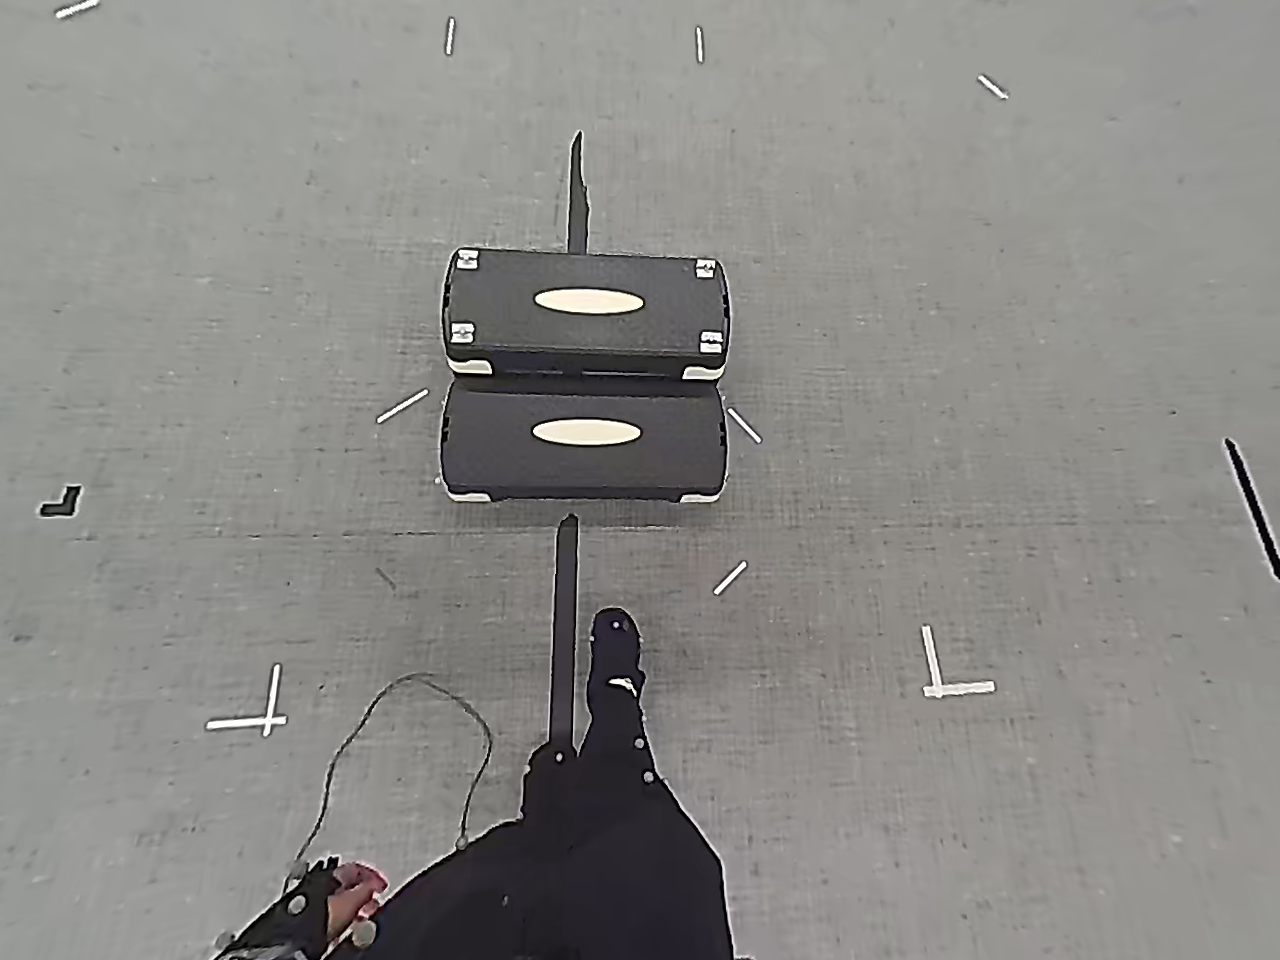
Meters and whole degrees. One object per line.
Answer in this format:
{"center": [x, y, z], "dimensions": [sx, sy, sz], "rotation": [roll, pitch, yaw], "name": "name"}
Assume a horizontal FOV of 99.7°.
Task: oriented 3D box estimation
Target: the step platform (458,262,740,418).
{"center": [-0.096, -0.346, 1.357], "dimensions": [0.684, 0.204, 0.286], "rotation": [5, 71, -4], "name": "step platform"}
